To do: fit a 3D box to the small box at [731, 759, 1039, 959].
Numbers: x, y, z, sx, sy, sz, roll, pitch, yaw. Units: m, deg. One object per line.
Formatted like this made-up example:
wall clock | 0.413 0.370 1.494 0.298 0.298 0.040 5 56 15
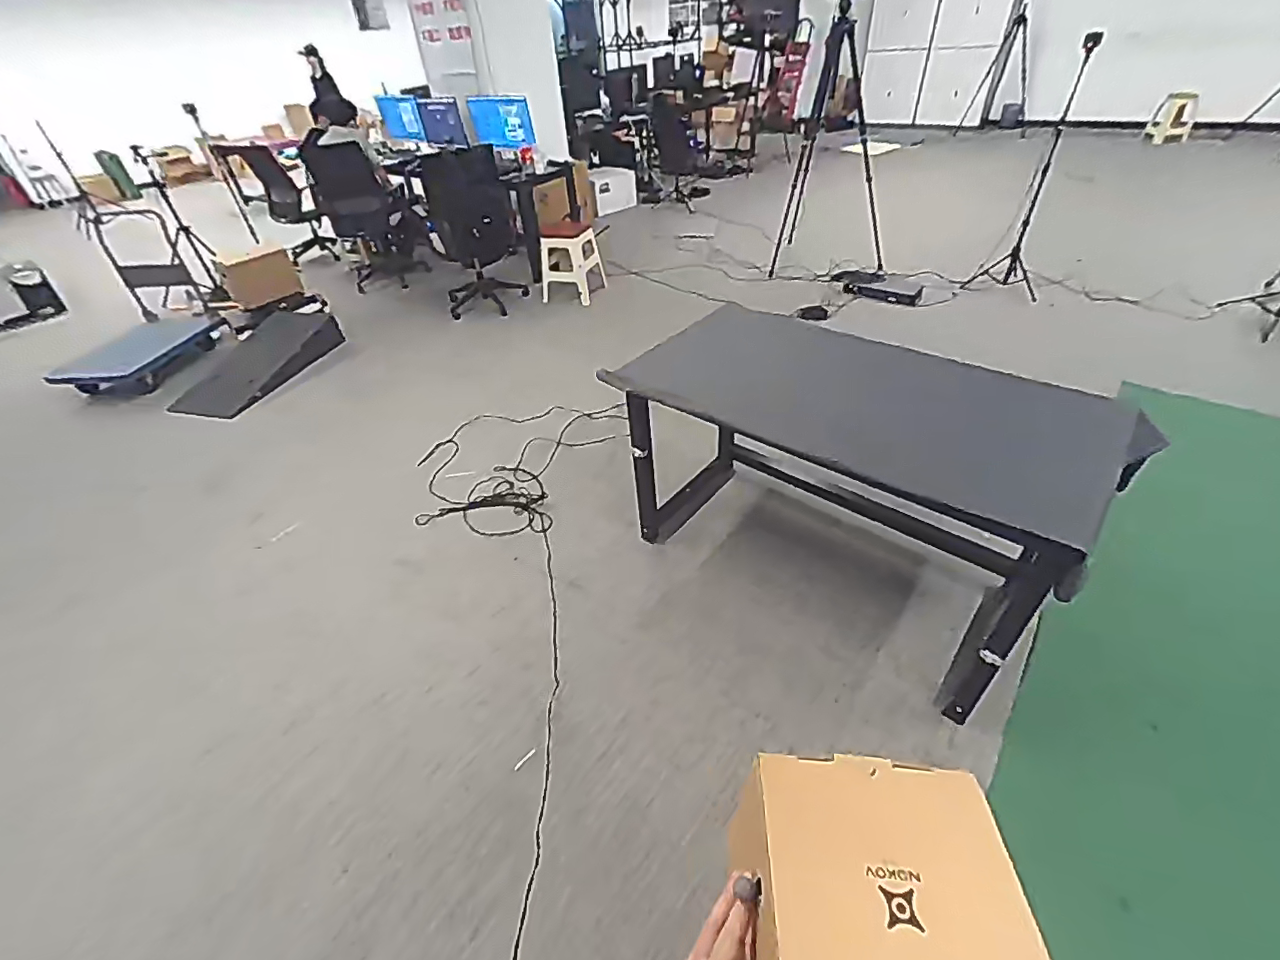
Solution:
small box | 0.161 0.338 0.395 0.168 0.176 0.179 4 36 3
